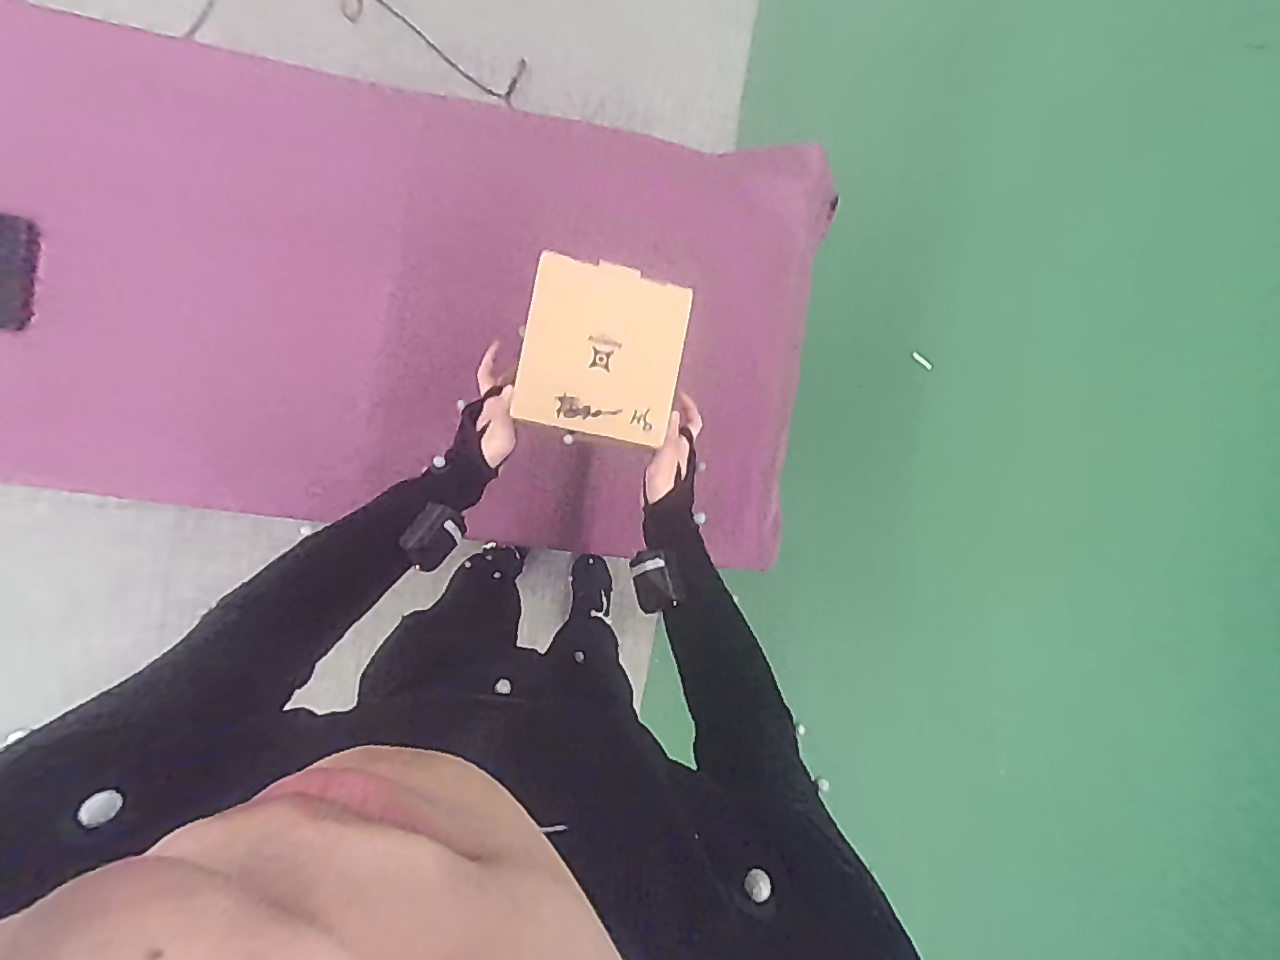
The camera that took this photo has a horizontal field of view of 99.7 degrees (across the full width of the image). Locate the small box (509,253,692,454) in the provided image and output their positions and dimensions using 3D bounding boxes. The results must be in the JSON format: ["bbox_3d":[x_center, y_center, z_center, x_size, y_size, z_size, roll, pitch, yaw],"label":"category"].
[{"bbox_3d":[-0.051,-0.133,0.639,0.168,0.176,0.179,11,89,-8],"label":"small box"}]
